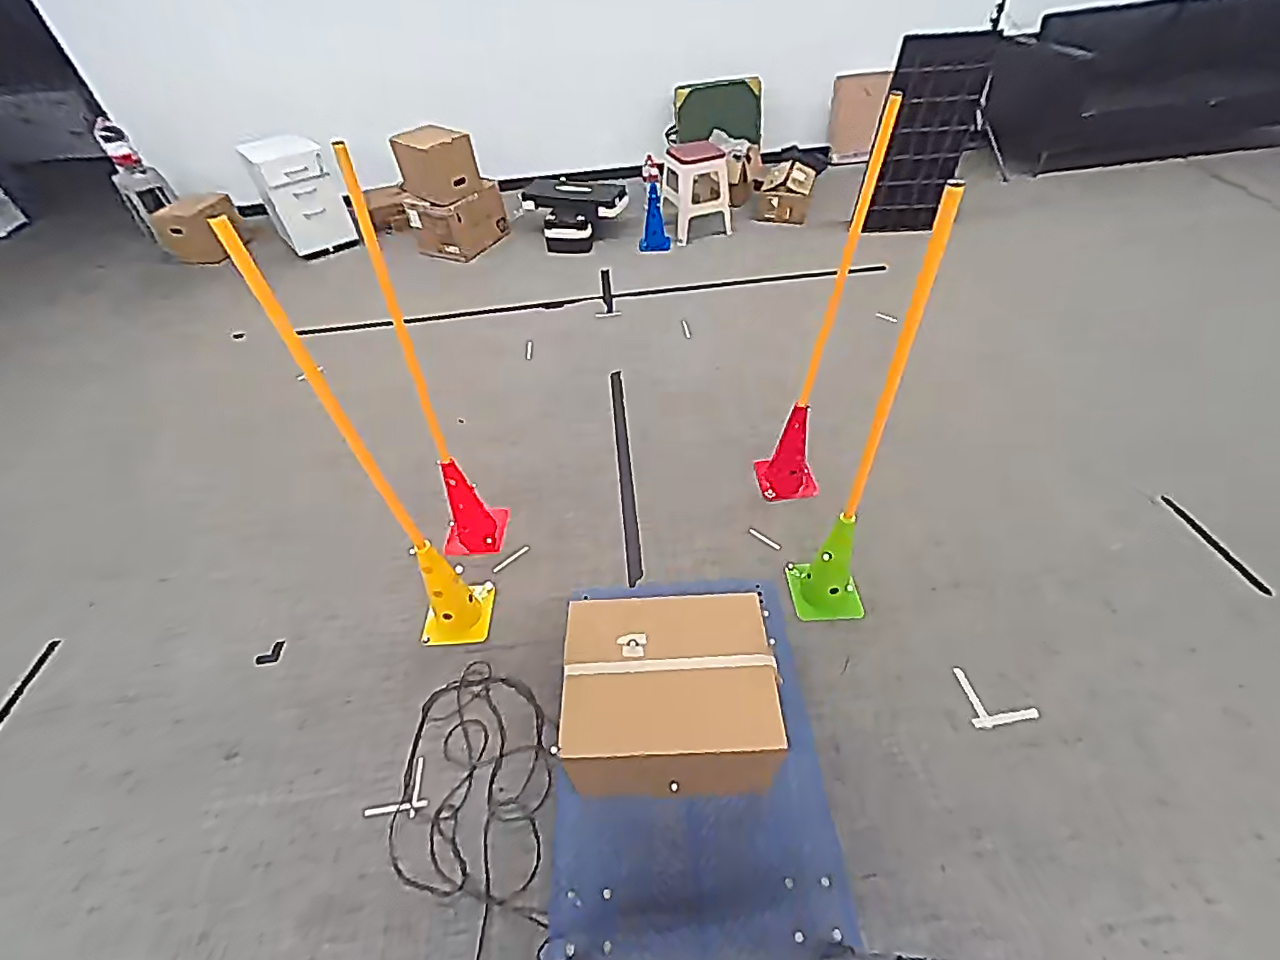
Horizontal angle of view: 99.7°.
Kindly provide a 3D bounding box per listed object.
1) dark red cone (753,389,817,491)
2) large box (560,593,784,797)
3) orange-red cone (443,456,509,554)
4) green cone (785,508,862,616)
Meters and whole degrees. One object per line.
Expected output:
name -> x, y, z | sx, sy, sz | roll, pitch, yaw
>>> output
dark red cone -> 0.527, -0.147, 1.877 | 0.201, 0.394, 0.202 | -5, 47, -3
large box -> 0.063, 0.466, 1.157 | 0.408, 0.320, 0.320 | -4, 47, 2
orange-red cone -> -0.585, 0.059, 1.797 | 0.198, 0.360, 0.199 | 0, 45, 3
green cone -> 0.558, 0.215, 1.555 | 0.202, 0.368, 0.200 | -3, 46, 0
